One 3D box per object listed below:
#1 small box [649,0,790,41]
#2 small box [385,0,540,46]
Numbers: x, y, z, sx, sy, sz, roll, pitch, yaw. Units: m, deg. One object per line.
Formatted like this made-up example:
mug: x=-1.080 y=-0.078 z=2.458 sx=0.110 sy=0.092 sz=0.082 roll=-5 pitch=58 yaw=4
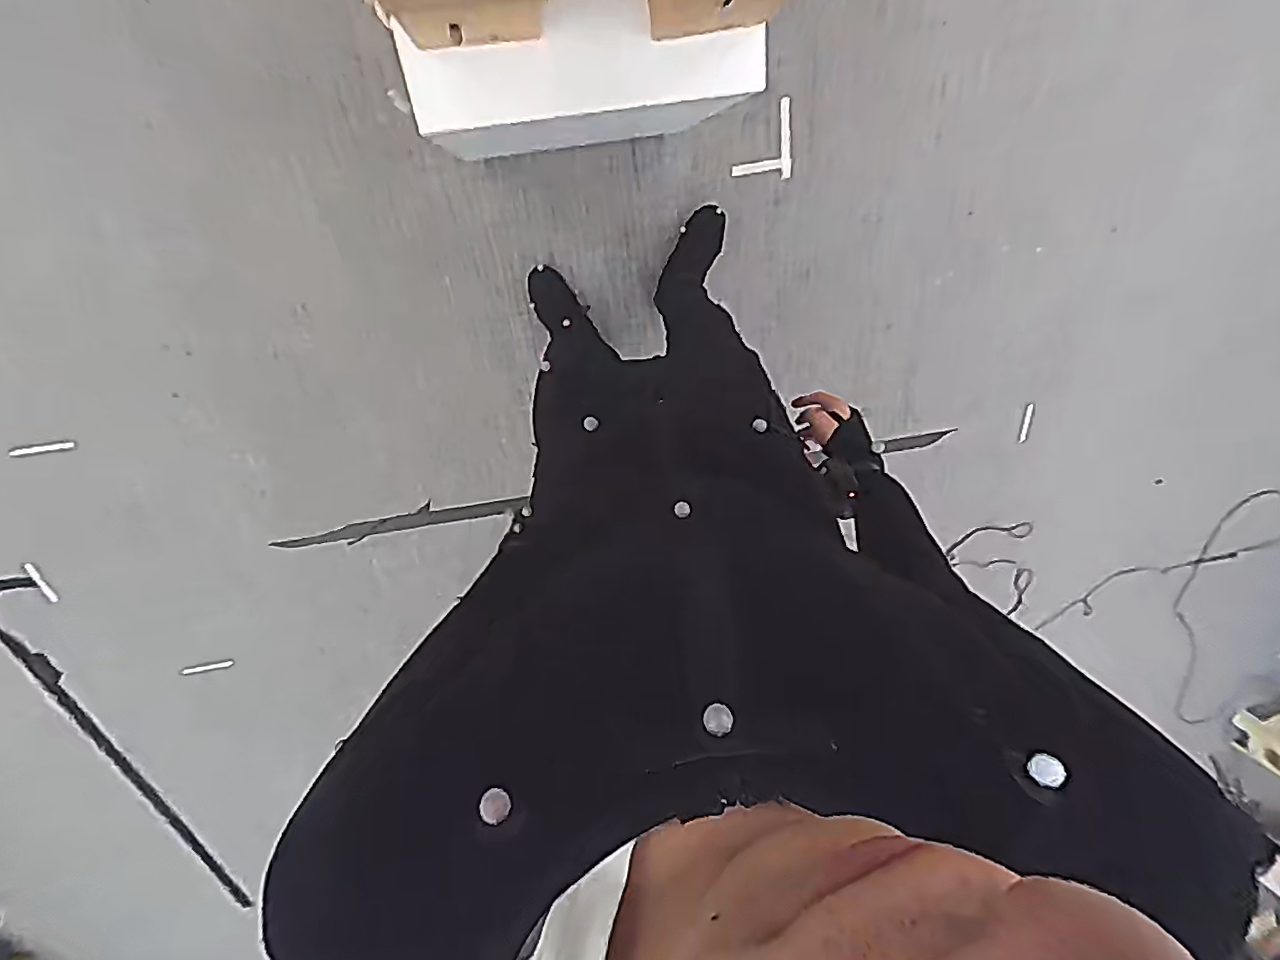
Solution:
small box: x=0.095 y=-0.663 z=0.642 sx=0.168 sy=0.176 sz=0.179 roll=-12 pitch=118 yaw=-3
small box: x=-0.208 y=-0.620 z=0.612 sx=0.168 sy=0.176 sz=0.179 roll=-10 pitch=118 yaw=-6
